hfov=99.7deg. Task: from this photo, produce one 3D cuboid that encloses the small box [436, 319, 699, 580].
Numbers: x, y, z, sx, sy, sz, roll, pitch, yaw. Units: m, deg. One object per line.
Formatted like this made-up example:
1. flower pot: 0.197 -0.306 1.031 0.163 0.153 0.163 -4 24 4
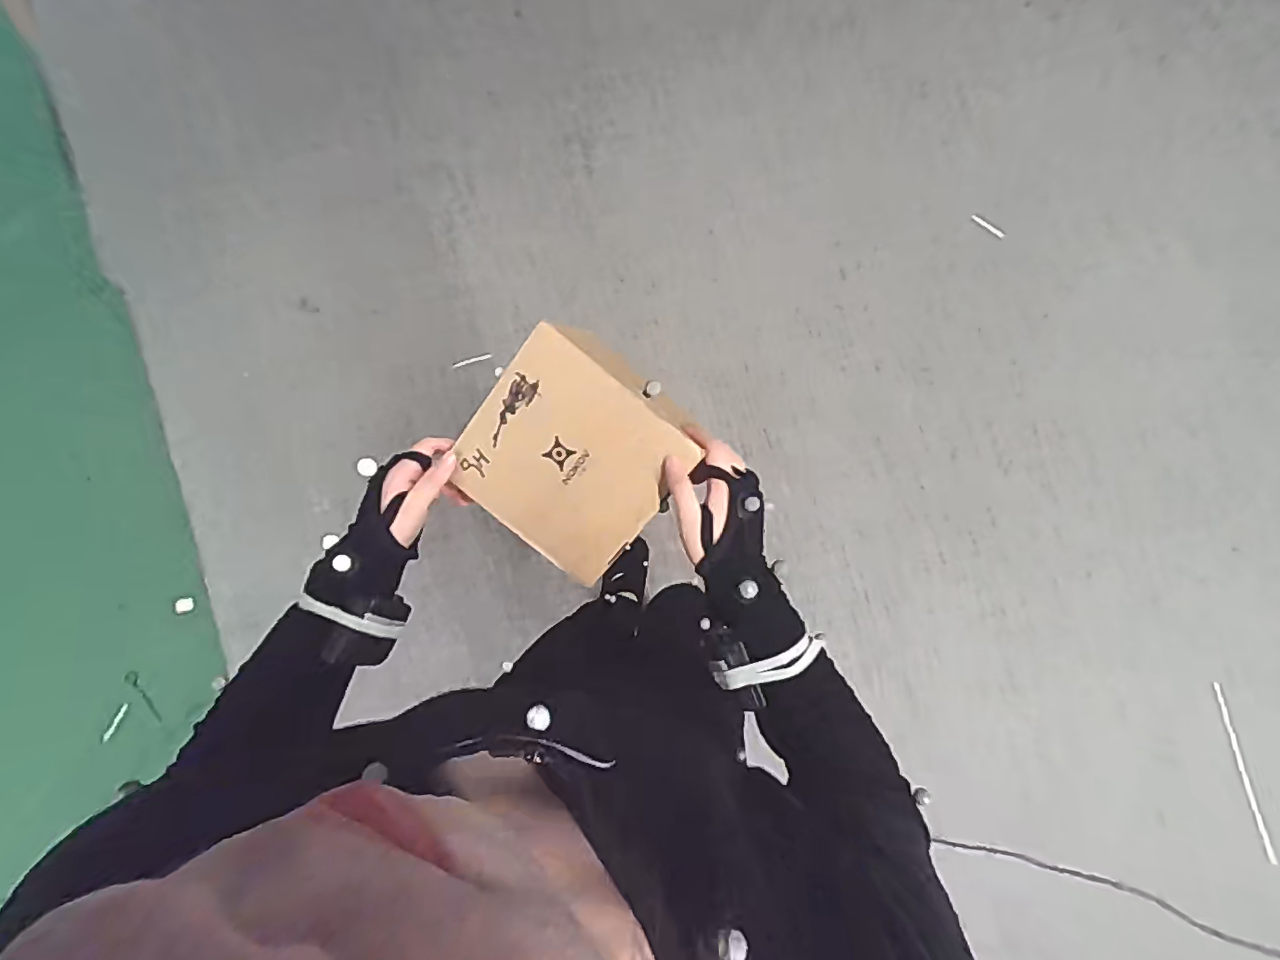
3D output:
1. small box: -0.056 -0.040 0.539 0.179 0.176 0.168 39 105 -3
